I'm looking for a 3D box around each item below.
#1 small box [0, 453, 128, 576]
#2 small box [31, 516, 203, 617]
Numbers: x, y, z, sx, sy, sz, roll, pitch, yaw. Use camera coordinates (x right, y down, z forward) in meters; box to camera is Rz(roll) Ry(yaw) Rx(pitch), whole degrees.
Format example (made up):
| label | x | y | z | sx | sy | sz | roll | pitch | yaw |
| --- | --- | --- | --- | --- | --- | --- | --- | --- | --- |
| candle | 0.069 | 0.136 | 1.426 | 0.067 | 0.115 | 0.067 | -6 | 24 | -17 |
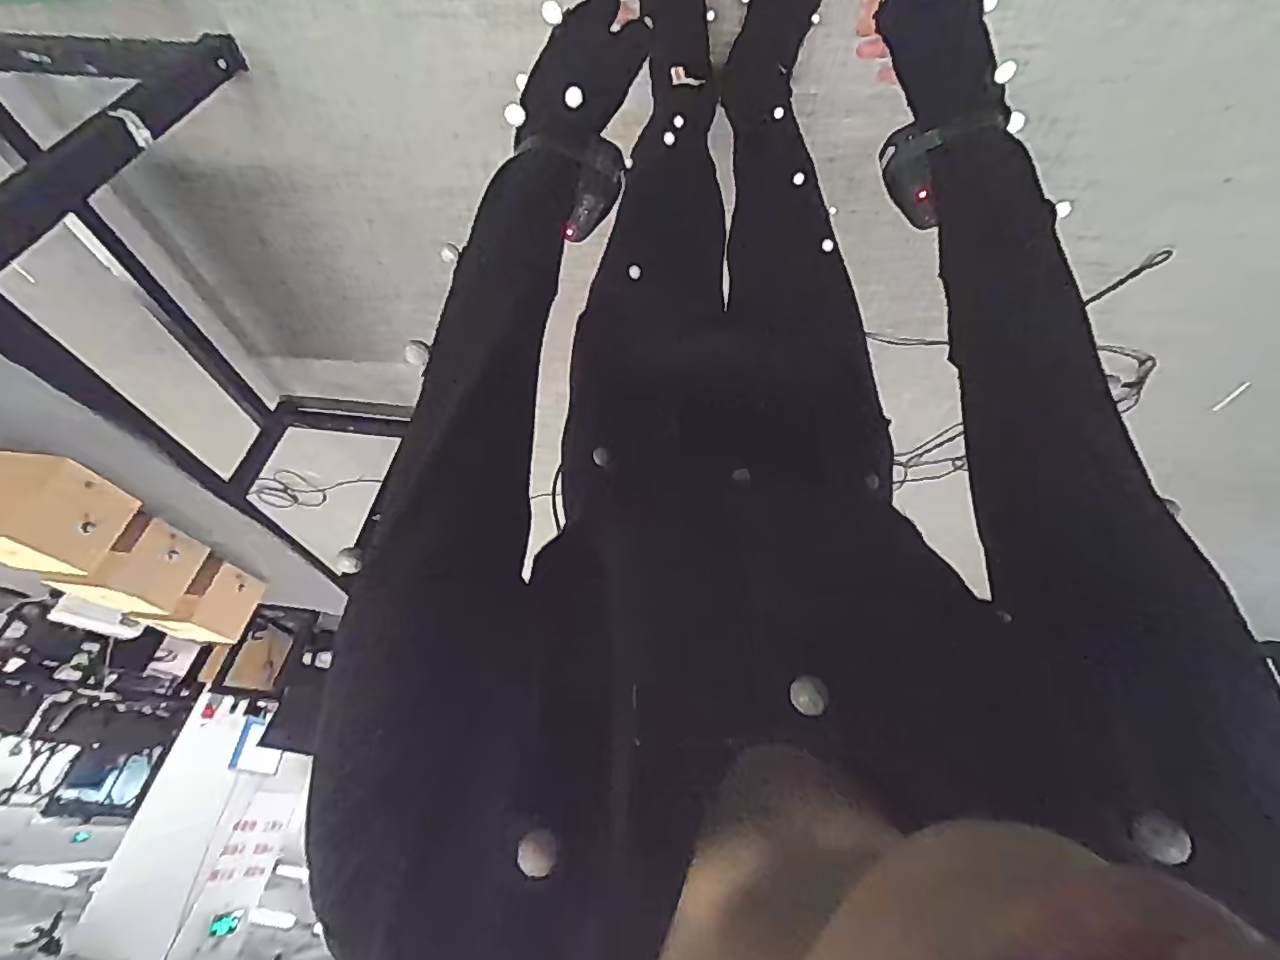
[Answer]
| label | x | y | z | sx | sy | sz | roll | pitch | yaw |
| --- | --- | --- | --- | --- | --- | --- | --- | --- | --- |
| small box | -1.120 | 0.063 | 1.004 | 0.179 | 0.176 | 0.168 | 5 | 147 | 7 |
| small box | -1.135 | 0.185 | 1.192 | 0.179 | 0.176 | 0.168 | 4 | 147 | 8 |
